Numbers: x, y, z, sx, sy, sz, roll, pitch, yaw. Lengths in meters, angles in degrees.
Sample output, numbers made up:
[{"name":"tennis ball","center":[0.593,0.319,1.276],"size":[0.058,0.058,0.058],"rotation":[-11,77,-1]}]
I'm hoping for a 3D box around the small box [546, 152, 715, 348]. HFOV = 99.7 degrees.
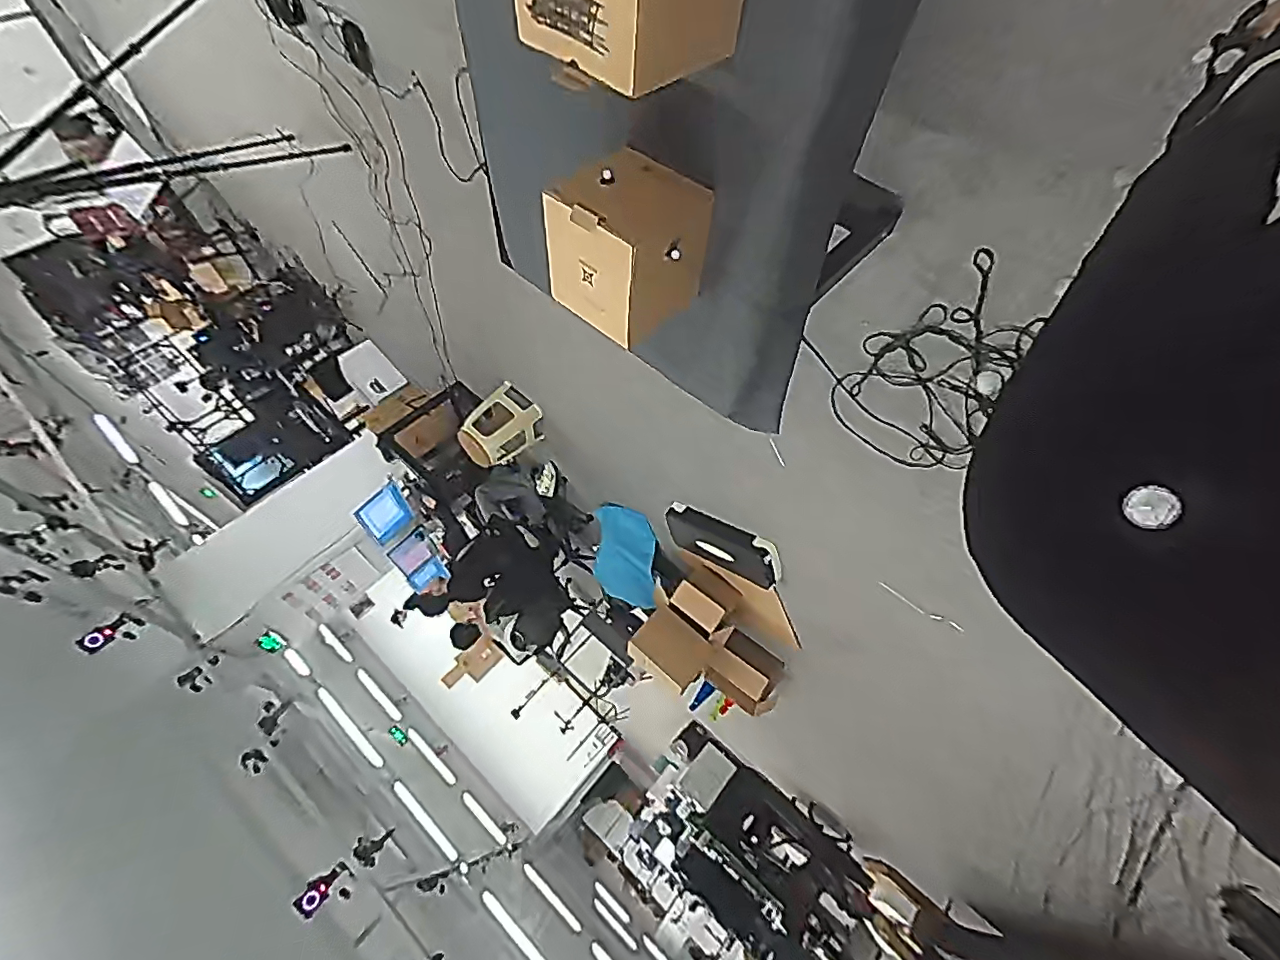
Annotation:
[{"name":"small box","center":[-0.012,-0.334,0.780],"size":[0.168,0.176,0.179],"rotation":[39,154,20]}]
